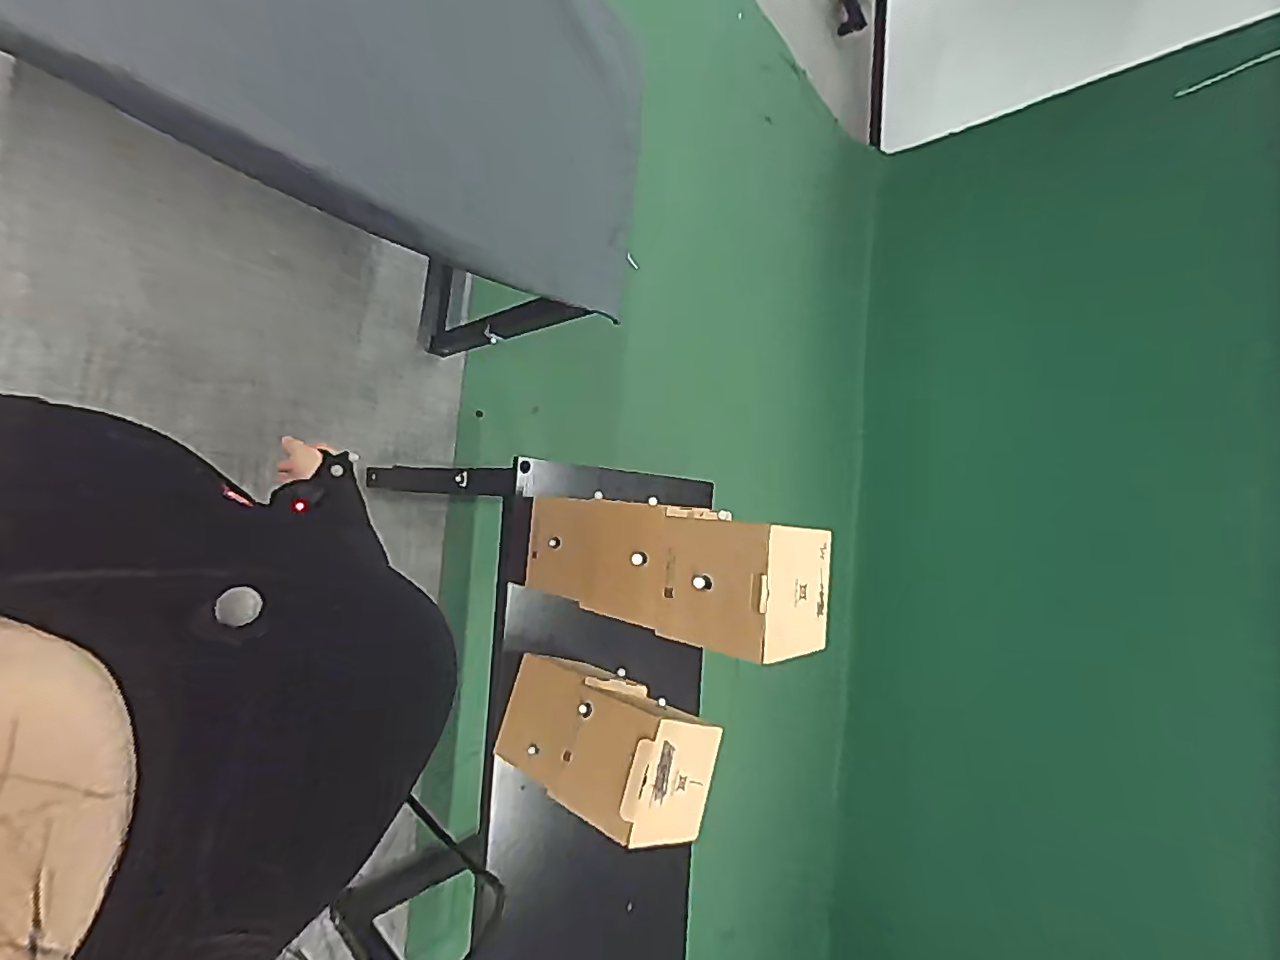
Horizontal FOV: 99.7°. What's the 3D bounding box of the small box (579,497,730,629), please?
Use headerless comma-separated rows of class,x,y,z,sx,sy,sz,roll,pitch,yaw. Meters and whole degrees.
small box,0.021,0.124,0.854,0.168,0.176,0.179,8,86,-46

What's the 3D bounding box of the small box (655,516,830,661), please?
small box,0.139,0.139,0.741,0.179,0.176,0.168,10,84,-46

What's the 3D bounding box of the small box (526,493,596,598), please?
small box,-0.086,0.114,0.977,0.179,0.176,0.168,8,87,-47

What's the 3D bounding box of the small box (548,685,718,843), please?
small box,-0.011,0.427,0.831,0.179,0.176,0.168,34,68,-43
